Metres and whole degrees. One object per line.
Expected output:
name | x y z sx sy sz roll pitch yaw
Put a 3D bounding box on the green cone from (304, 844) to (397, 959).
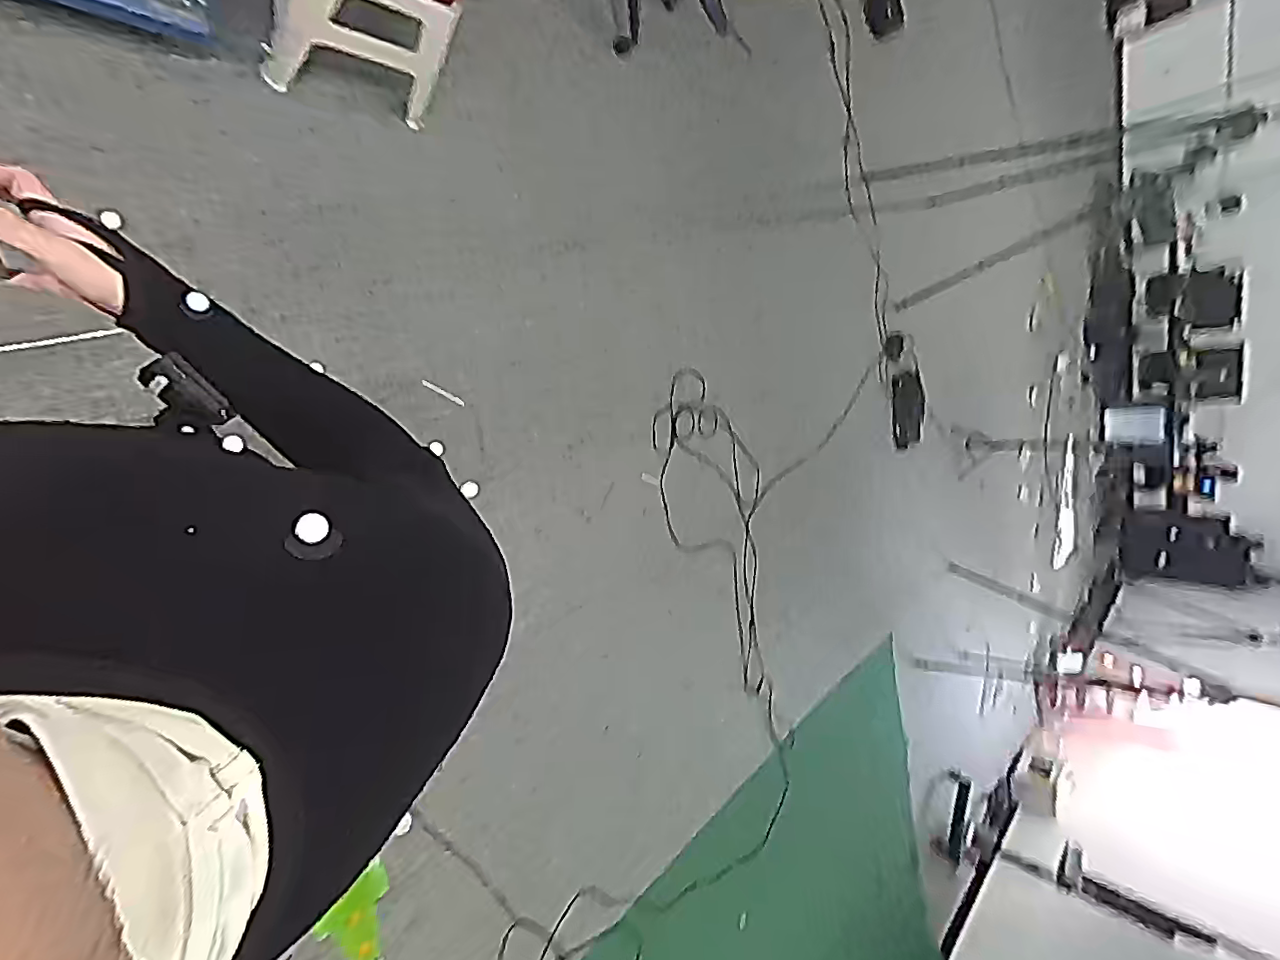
green cone | -0.706 1.184 1.406 0.202 0.368 0.200 -24 109 -37
